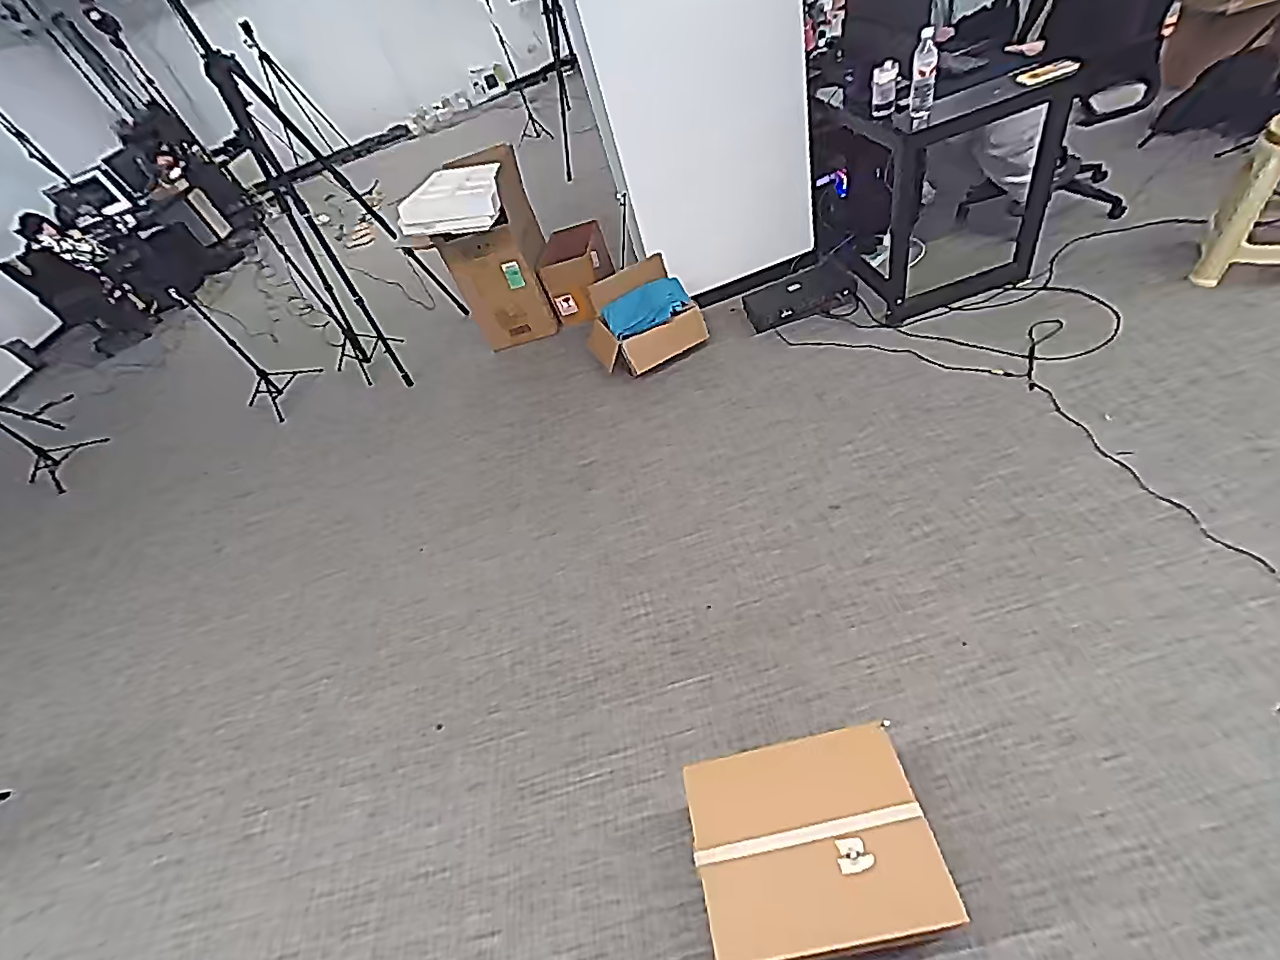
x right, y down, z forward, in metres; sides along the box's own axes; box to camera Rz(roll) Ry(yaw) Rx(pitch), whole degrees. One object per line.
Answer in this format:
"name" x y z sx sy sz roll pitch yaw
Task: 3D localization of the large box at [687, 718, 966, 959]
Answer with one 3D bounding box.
"large box" 0.341 0.725 1.070 0.408 0.320 0.320 -16 46 5
